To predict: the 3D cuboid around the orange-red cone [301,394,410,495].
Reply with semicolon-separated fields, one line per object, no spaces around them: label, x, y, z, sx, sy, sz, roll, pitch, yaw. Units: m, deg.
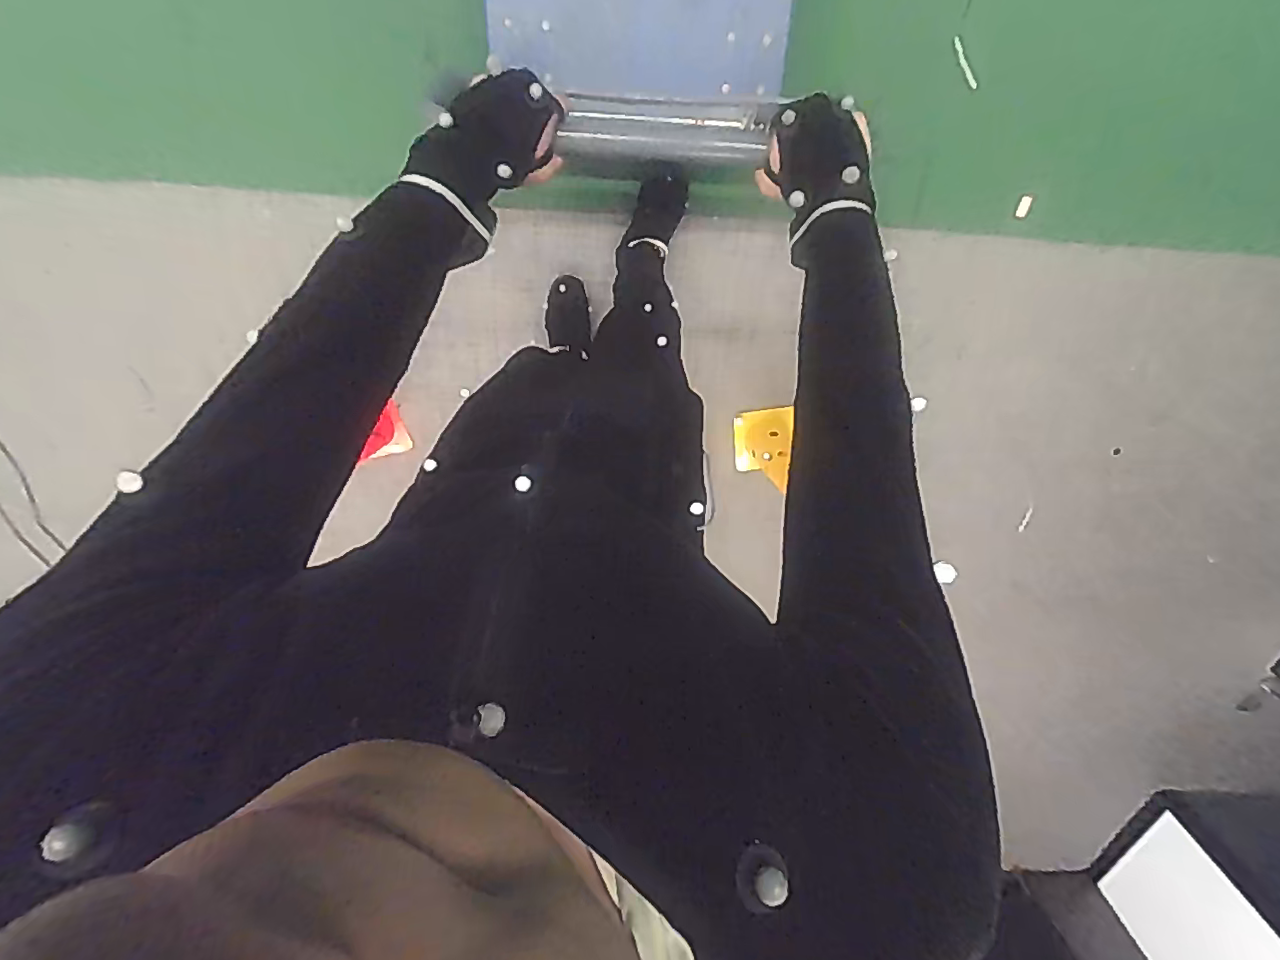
orange-red cone;-0.791;-0.065;1.433;0.199;0.360;0.198;-10;119;5
